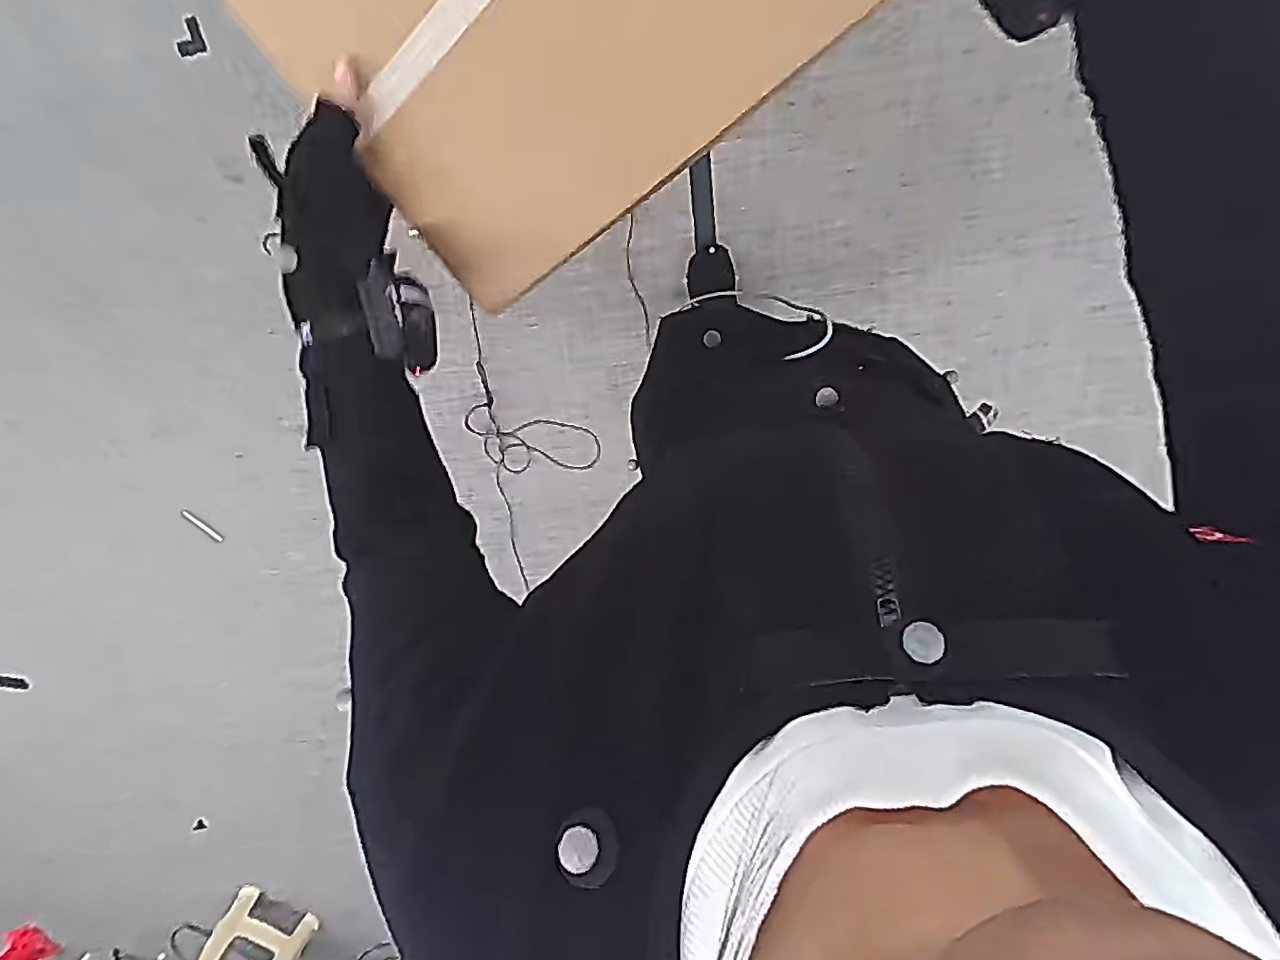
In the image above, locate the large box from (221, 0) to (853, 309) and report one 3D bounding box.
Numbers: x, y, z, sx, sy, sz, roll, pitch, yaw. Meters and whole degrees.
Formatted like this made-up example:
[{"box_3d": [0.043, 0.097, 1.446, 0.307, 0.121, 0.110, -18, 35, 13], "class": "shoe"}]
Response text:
[{"box_3d": [-0.048, -0.423, 0.457, 0.408, 0.320, 0.320, -31, 114, 25], "class": "large box"}]
